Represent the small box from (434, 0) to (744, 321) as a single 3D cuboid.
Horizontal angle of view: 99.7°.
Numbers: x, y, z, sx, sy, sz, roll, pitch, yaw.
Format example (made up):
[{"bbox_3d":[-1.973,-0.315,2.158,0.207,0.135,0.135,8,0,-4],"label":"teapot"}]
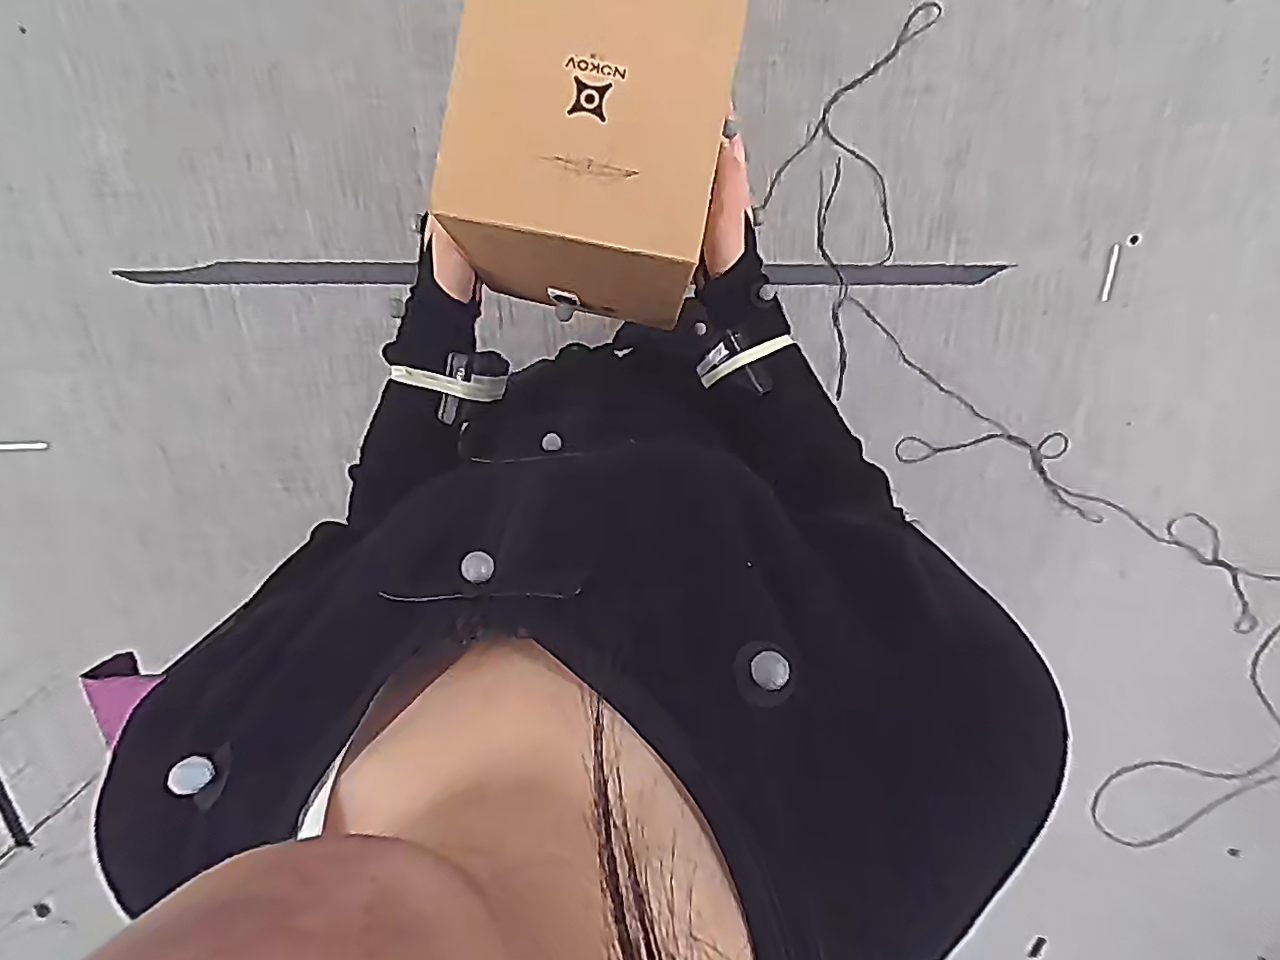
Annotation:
[{"bbox_3d":[-0.033,-0.238,0.406,0.168,0.176,0.179,10,92,-2],"label":"small box"}]
